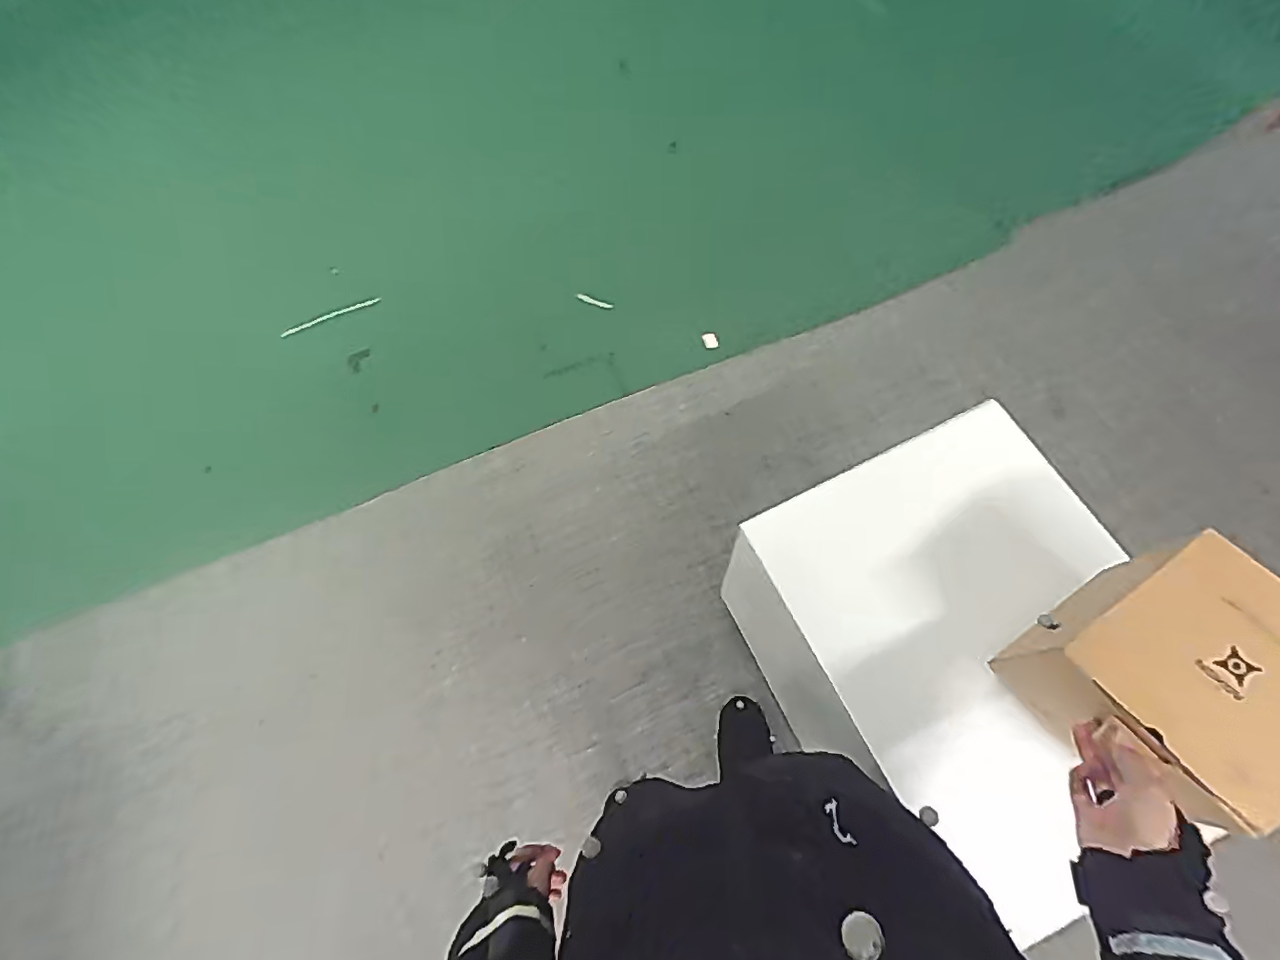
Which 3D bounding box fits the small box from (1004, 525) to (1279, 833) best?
[{"bbox_3d":[0.478,0.176,0.495,0.179,0.176,0.168,-37,65,-5],"label":"small box"}]
